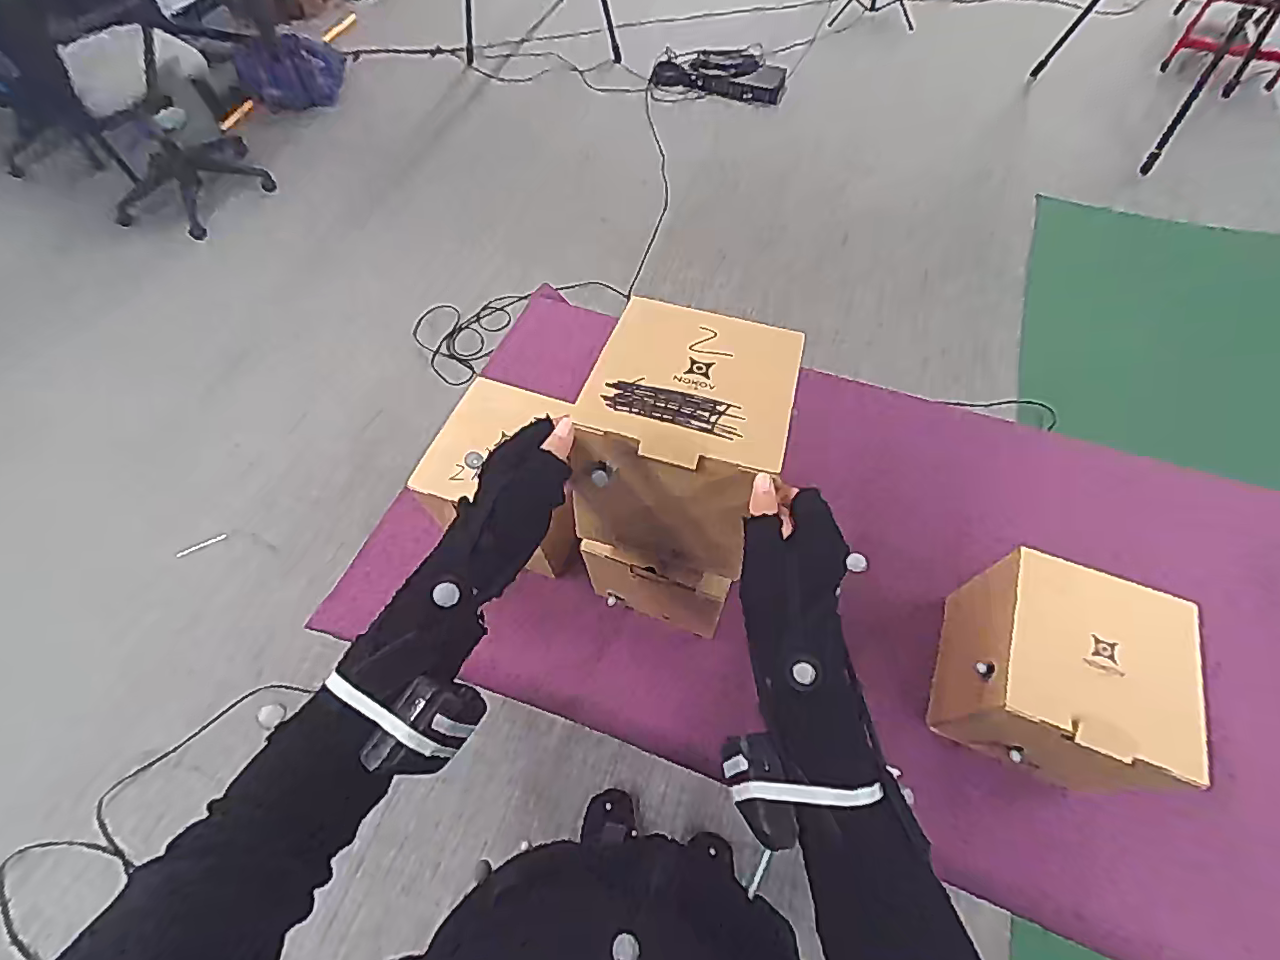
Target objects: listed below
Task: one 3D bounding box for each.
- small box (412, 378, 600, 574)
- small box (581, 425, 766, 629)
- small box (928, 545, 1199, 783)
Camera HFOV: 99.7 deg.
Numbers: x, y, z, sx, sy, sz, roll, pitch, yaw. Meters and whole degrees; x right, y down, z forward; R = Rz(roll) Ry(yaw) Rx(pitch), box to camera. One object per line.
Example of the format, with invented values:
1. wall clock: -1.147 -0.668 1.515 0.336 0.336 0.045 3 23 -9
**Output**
1. small box: -0.161 -0.001 0.724 0.168 0.176 0.179 18 63 12
2. small box: 0.044 0.066 0.680 0.168 0.176 0.179 19 63 12
3. small box: 0.440 0.203 0.587 0.168 0.176 0.179 20 63 13
